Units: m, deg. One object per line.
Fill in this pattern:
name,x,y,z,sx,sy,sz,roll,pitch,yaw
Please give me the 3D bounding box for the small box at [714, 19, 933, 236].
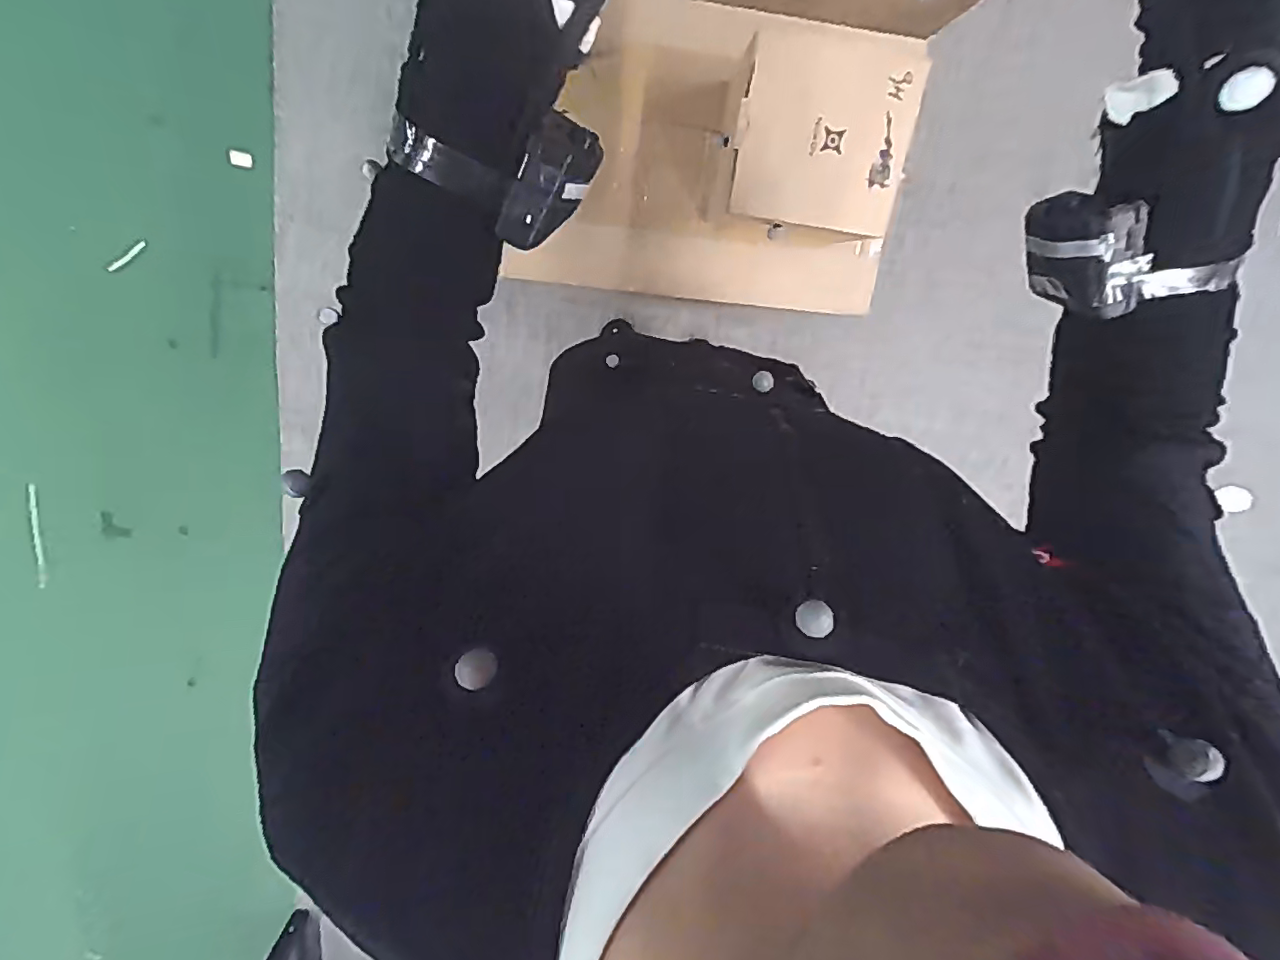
small box,0.190,-0.385,0.625,0.179,0.176,0.168,8,111,-3
